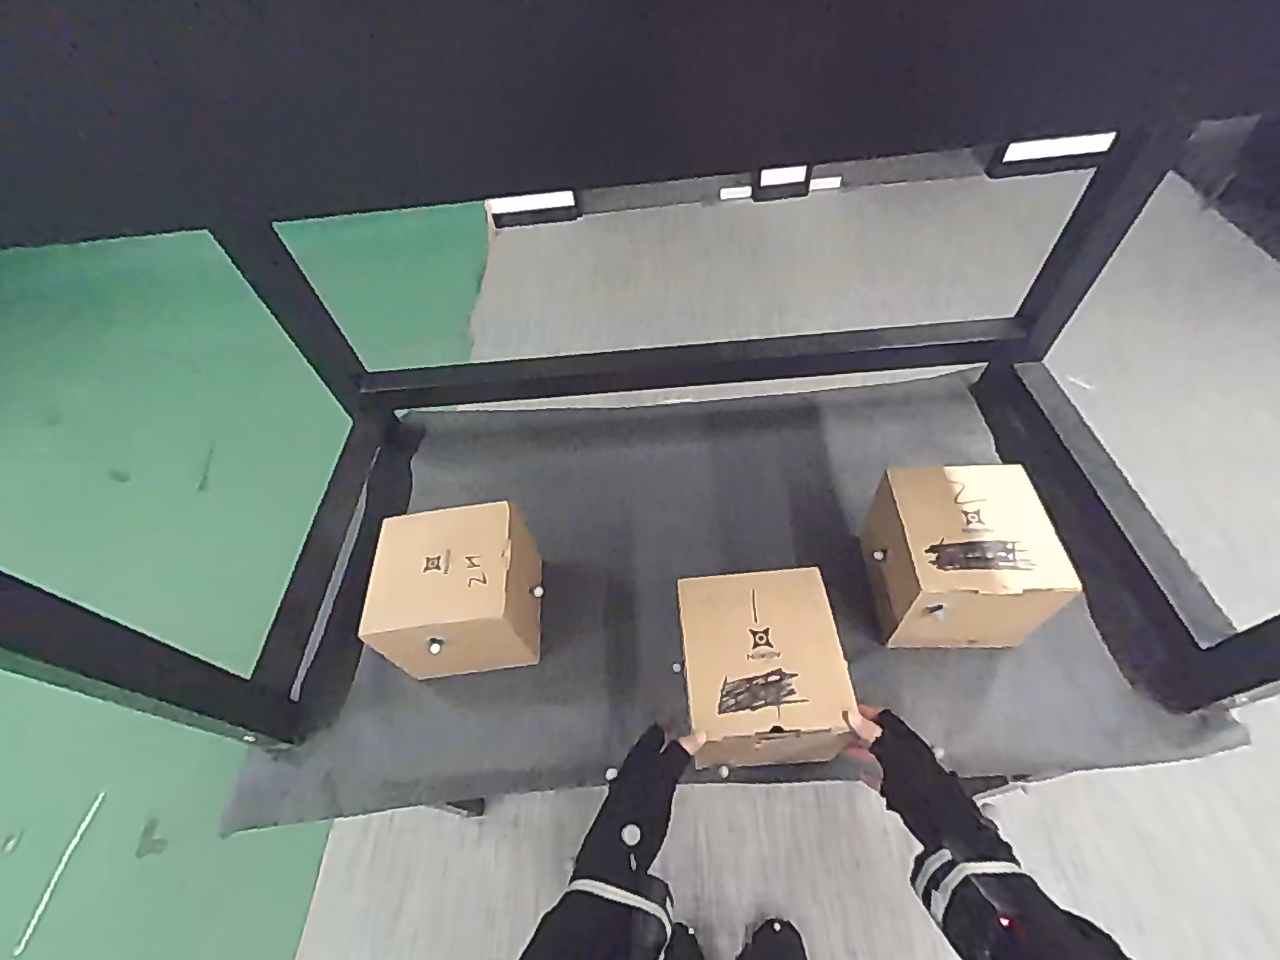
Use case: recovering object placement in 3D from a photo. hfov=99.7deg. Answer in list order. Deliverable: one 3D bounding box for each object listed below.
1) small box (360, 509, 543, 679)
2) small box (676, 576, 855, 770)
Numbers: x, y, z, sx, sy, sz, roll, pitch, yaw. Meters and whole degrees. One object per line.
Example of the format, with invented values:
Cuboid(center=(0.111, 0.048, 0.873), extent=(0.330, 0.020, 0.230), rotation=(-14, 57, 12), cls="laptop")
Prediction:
Cuboid(center=(-0.241, 0.161, 0.740), extent=(0.179, 0.176, 0.168), rotation=(-7, 53, 1), cls="small box")
Cuboid(center=(0.134, 0.233, 0.638), extent=(0.168, 0.176, 0.179), rotation=(-5, 52, 3), cls="small box")
